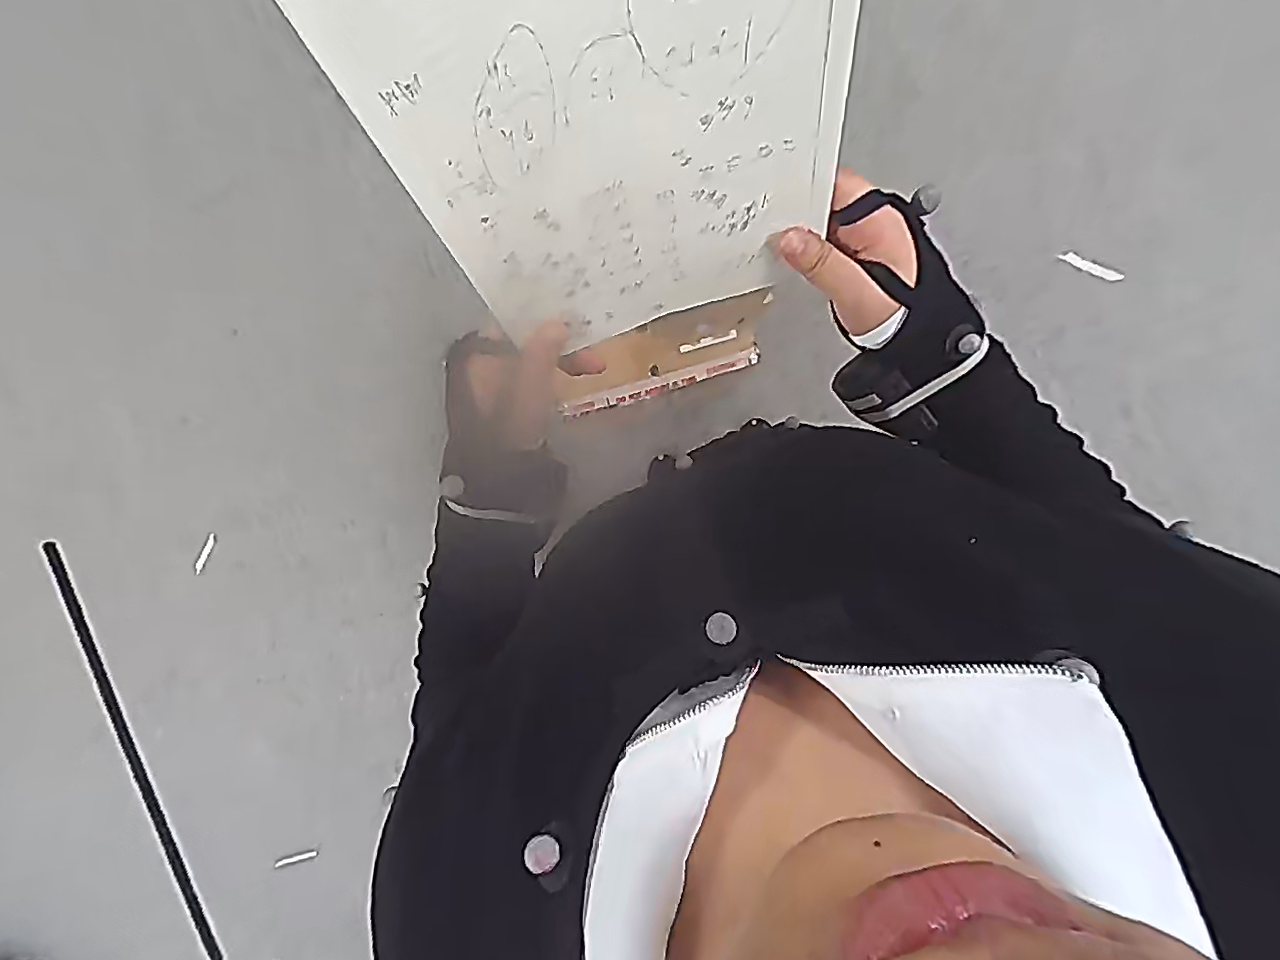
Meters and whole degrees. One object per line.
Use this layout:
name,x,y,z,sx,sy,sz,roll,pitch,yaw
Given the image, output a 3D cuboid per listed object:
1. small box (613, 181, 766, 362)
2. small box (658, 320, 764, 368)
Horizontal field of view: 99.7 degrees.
small box,0.065,-0.277,0.759,0.168,0.176,0.179,-13,95,5
small box,0.094,-0.299,0.921,0.179,0.176,0.168,-17,93,6
